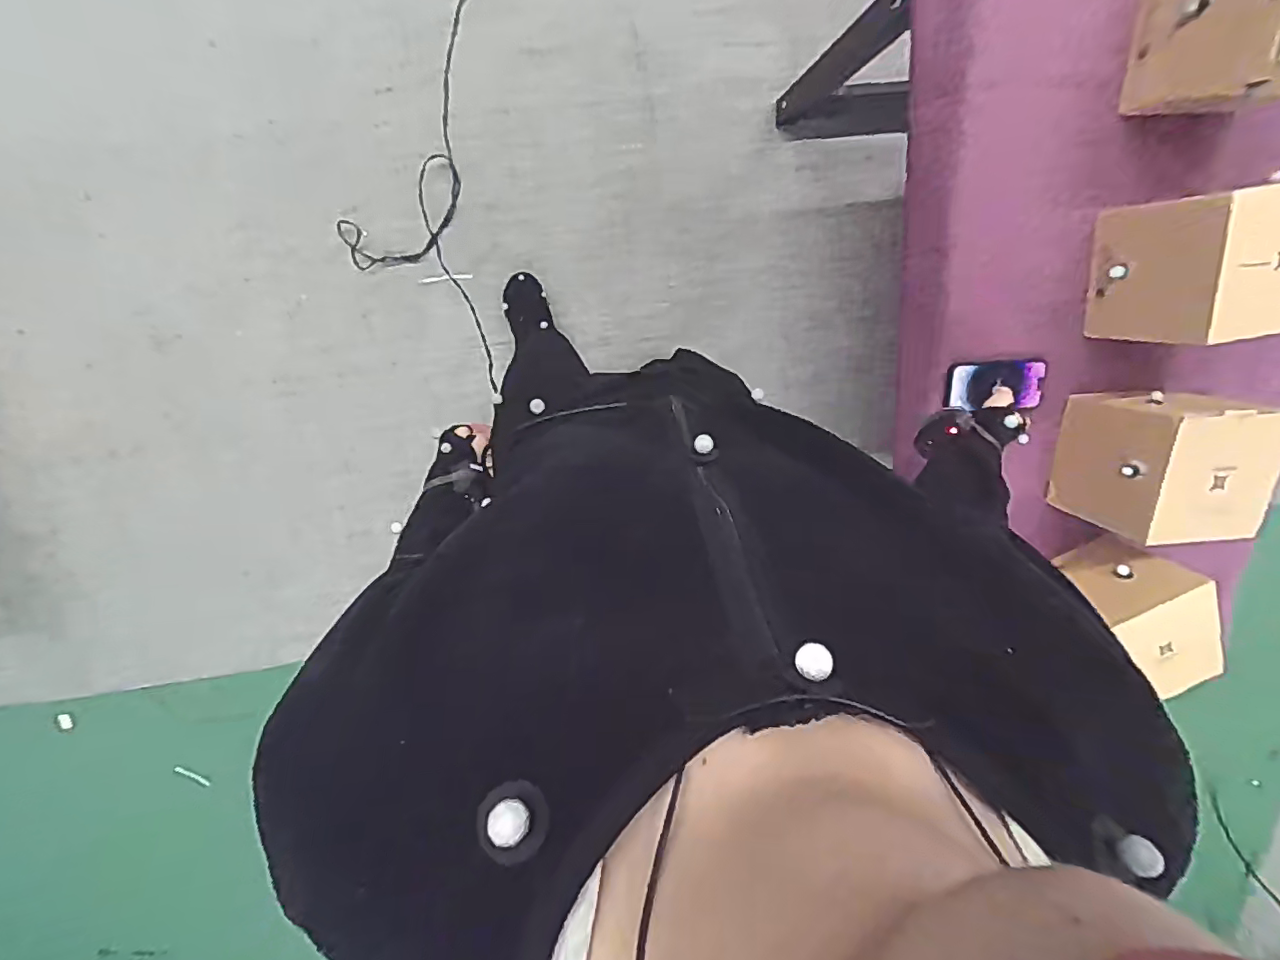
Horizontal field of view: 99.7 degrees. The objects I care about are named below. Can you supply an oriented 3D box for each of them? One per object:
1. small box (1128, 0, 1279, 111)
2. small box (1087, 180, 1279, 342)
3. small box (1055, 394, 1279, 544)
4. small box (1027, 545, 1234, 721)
[{"bbox_3d":[0.701,-0.527,0.593,0.179,0.176,0.168,-5,108,-4],"label":"small box"},{"bbox_3d":[0.721,-0.273,0.675,0.179,0.176,0.168,-10,108,-3],"label":"small box"},{"bbox_3d":[0.731,-0.026,0.756,0.168,0.176,0.179,-3,108,-5],"label":"small box"},{"bbox_3d":[0.741,0.221,0.834,0.168,0.176,0.179,-26,109,1],"label":"small box"}]
